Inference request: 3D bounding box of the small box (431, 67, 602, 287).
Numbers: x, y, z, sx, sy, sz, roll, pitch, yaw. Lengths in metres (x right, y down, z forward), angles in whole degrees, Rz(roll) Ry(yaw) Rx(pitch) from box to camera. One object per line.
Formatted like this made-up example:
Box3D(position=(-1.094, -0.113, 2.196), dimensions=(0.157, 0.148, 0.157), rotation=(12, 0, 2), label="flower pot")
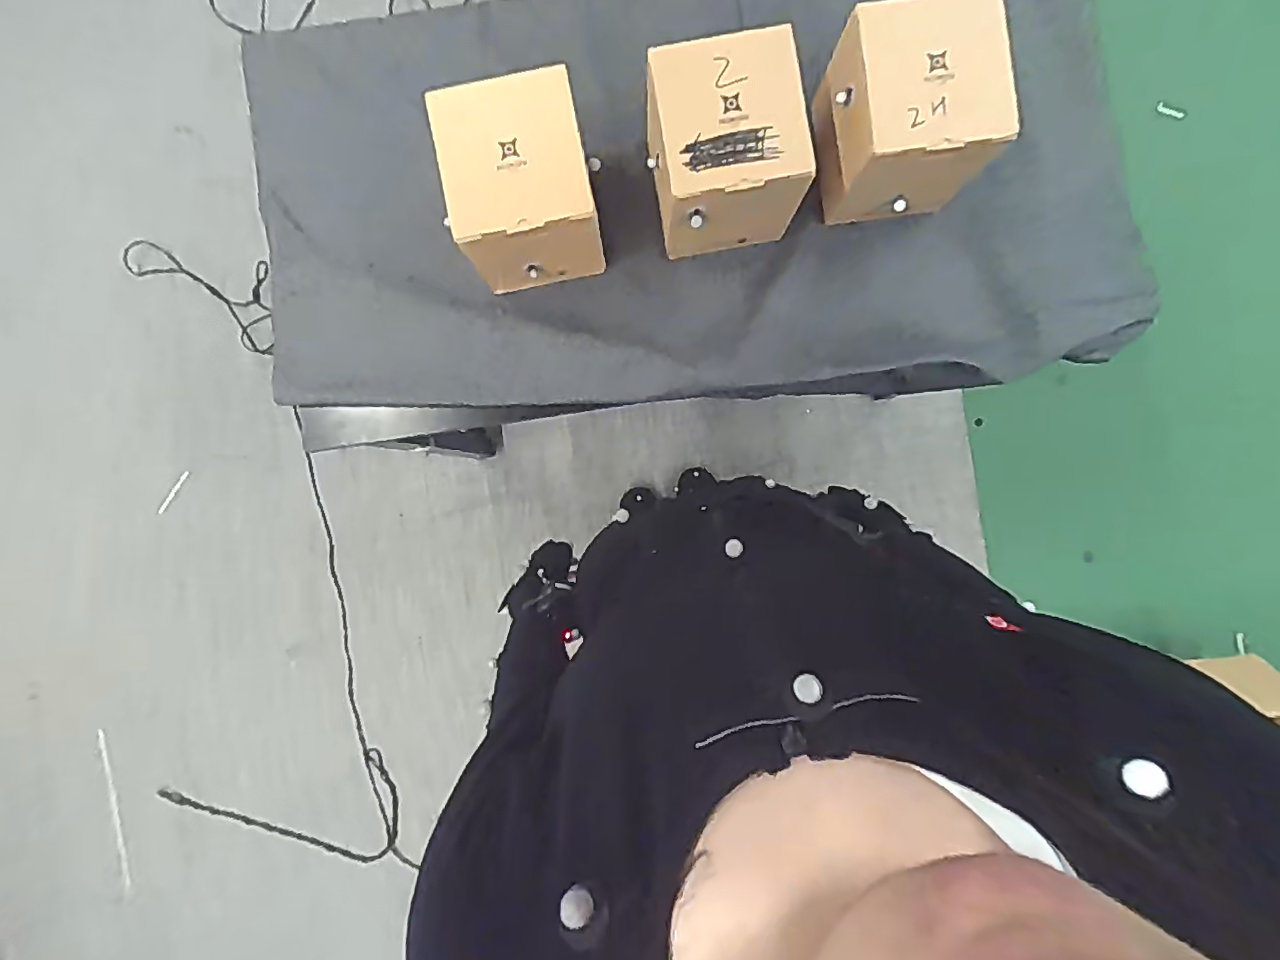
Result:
Box3D(position=(-0.147, -0.376, 0.700), dimensions=(0.168, 0.176, 0.179), rotation=(-11, 90, 0), label="small box")
